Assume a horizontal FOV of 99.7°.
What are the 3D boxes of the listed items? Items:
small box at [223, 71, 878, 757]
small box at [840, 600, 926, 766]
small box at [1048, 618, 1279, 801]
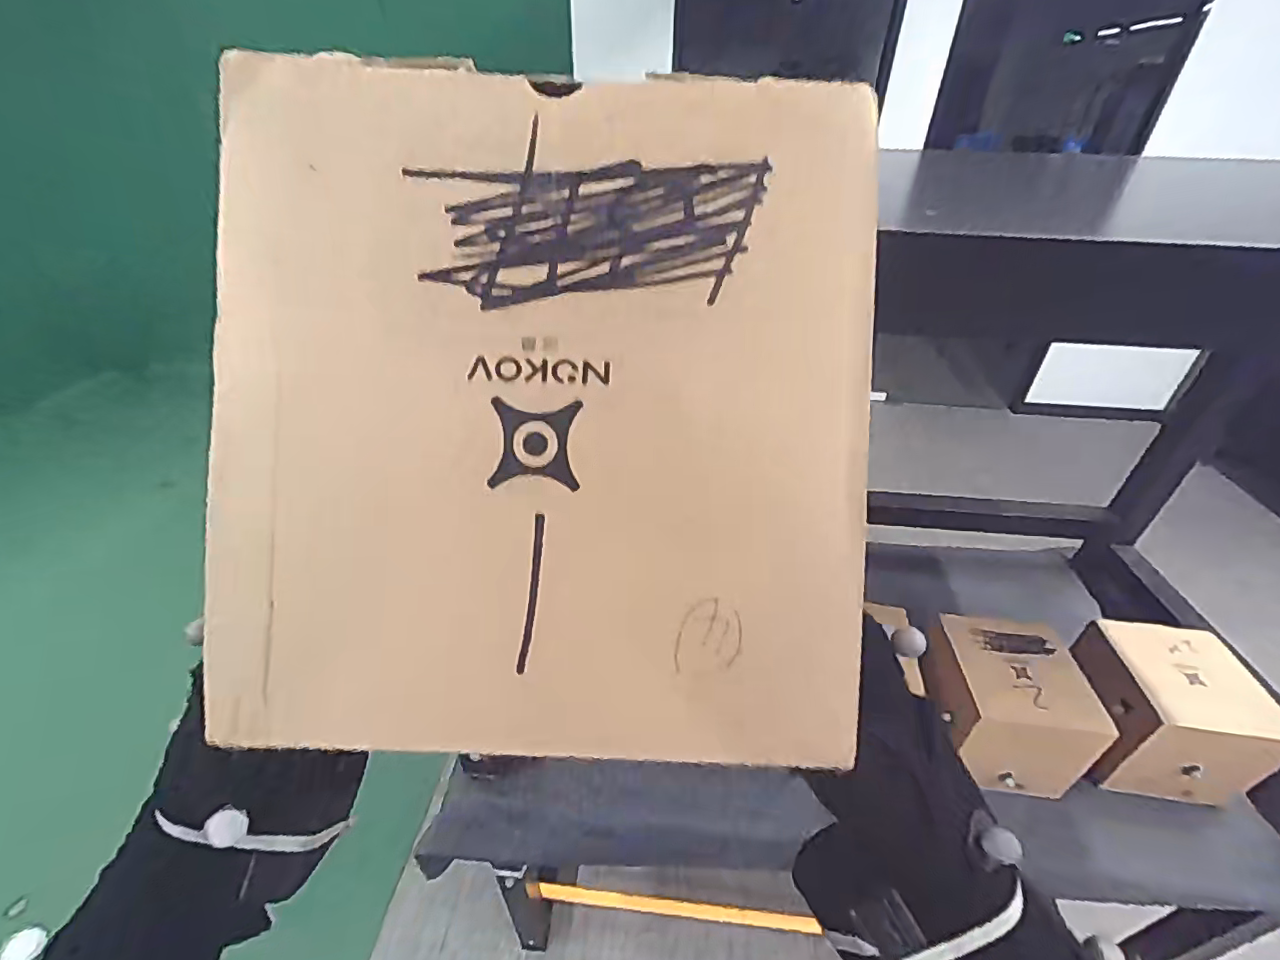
[{"bbox_3d":[-0.022,-0.017,0.221,0.168,0.179,0.176,2,0,0],"label":"small box"},{"bbox_3d":[0.306,0.299,0.818,0.168,0.176,0.179,8,35,9],"label":"small box"},{"bbox_3d":[0.746,0.329,0.780,0.168,0.176,0.179,6,34,6],"label":"small box"}]
